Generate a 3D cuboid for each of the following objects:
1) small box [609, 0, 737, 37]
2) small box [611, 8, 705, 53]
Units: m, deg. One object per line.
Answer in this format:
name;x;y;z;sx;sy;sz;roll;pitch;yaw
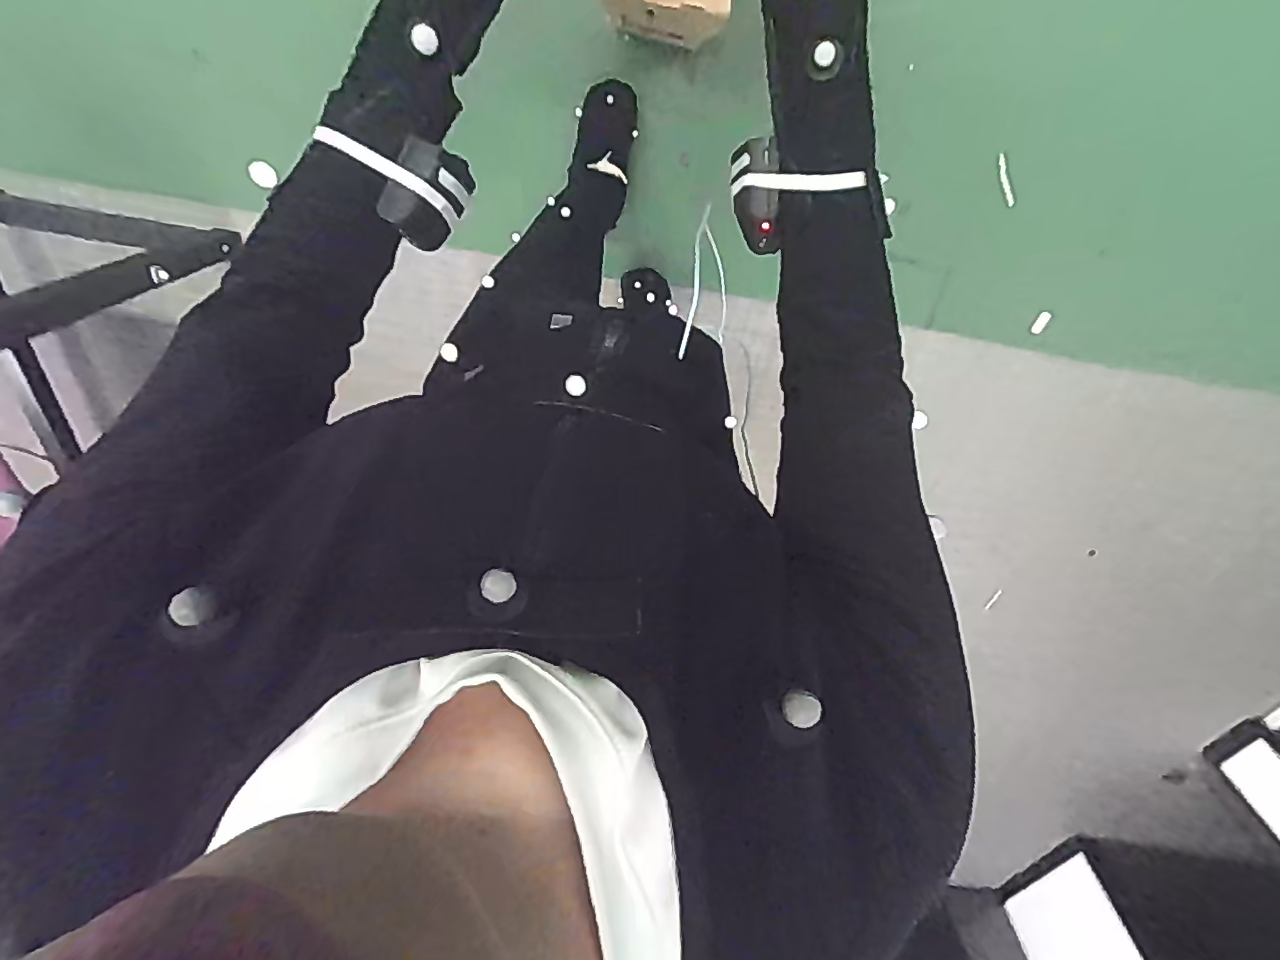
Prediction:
small box;0.047;-0.682;0.668;0.168;0.176;0.179;8;125;-5
small box;0.050;-0.869;0.937;0.168;0.176;0.179;11;124;-6
